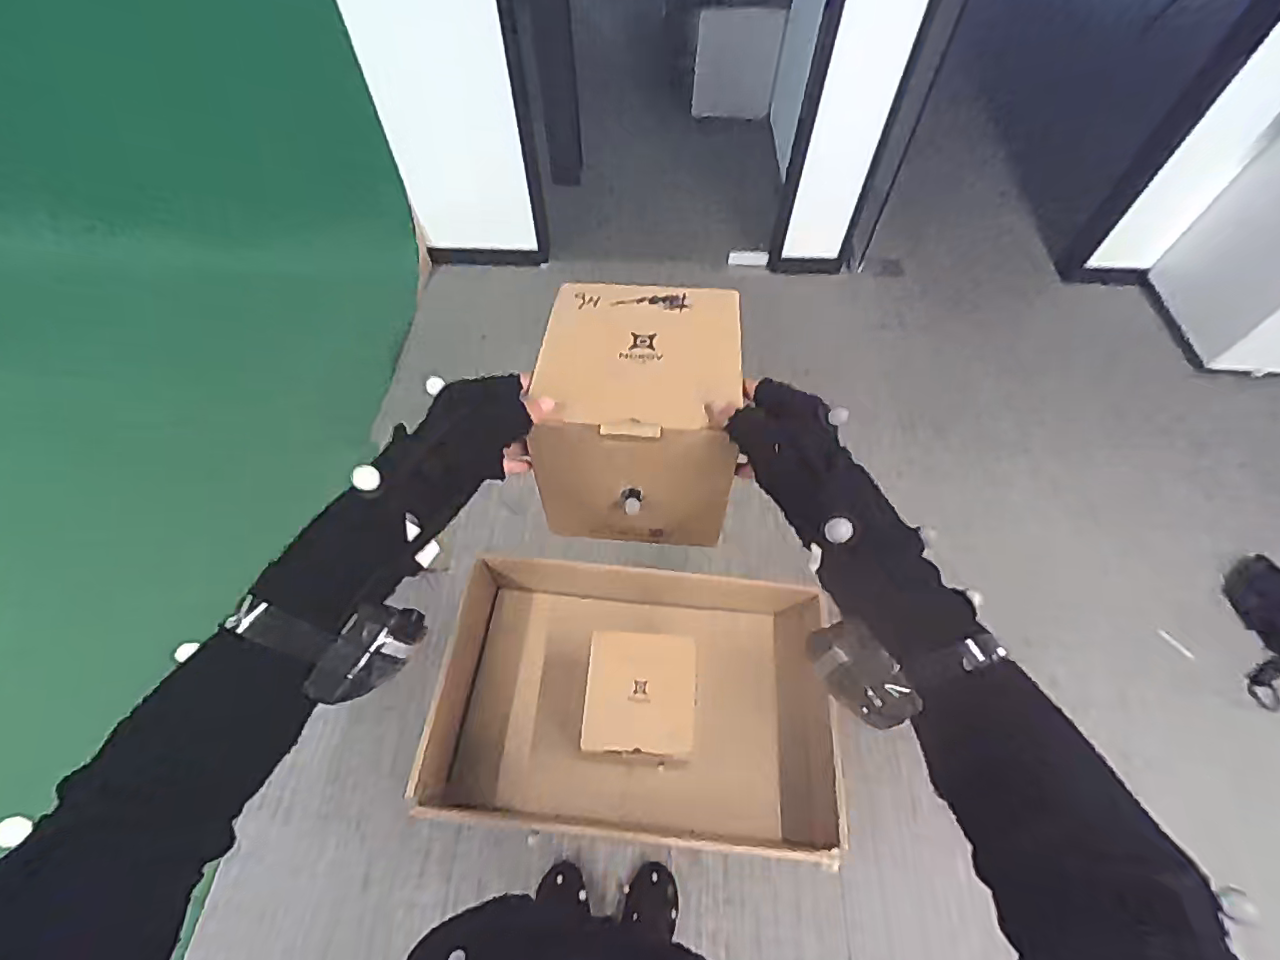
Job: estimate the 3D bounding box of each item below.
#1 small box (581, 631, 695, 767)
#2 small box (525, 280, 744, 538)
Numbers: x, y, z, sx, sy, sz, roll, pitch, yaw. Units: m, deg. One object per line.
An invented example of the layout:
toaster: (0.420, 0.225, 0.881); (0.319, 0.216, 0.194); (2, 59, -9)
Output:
small box: (0.001, 0.364, 0.887); (0.168, 0.176, 0.179); (4, 56, 0)
small box: (0.005, -0.061, 0.506); (0.168, 0.176, 0.179); (4, 55, 3)
